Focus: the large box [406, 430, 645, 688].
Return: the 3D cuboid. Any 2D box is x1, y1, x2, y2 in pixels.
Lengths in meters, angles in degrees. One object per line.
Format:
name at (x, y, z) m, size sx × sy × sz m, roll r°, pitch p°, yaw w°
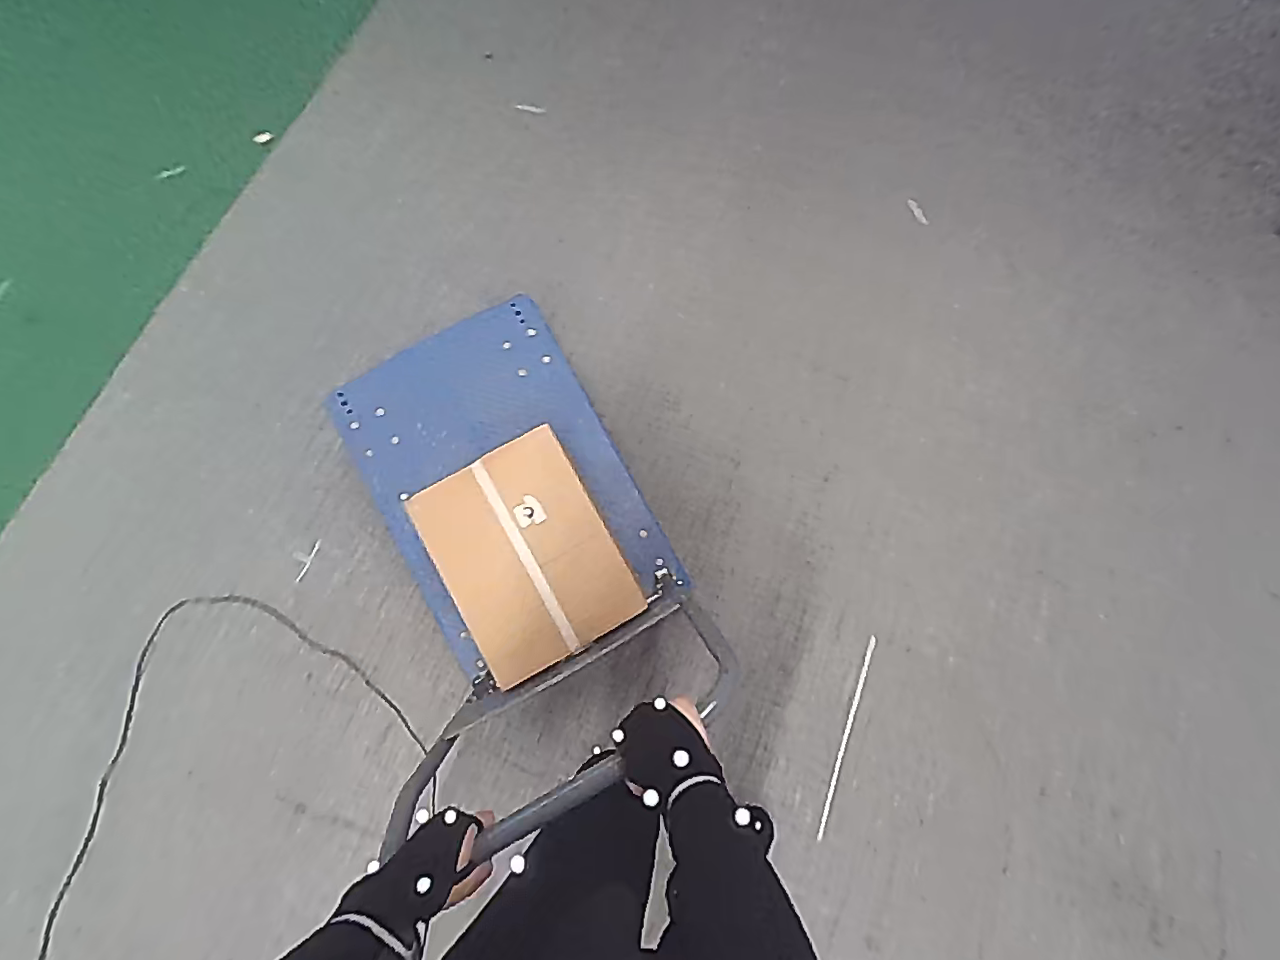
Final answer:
large box at (-0.218, 0.161, 1.169) m, size 0.320 × 0.320 × 0.408 m, roll -30°, pitch 84°, yaw -5°
